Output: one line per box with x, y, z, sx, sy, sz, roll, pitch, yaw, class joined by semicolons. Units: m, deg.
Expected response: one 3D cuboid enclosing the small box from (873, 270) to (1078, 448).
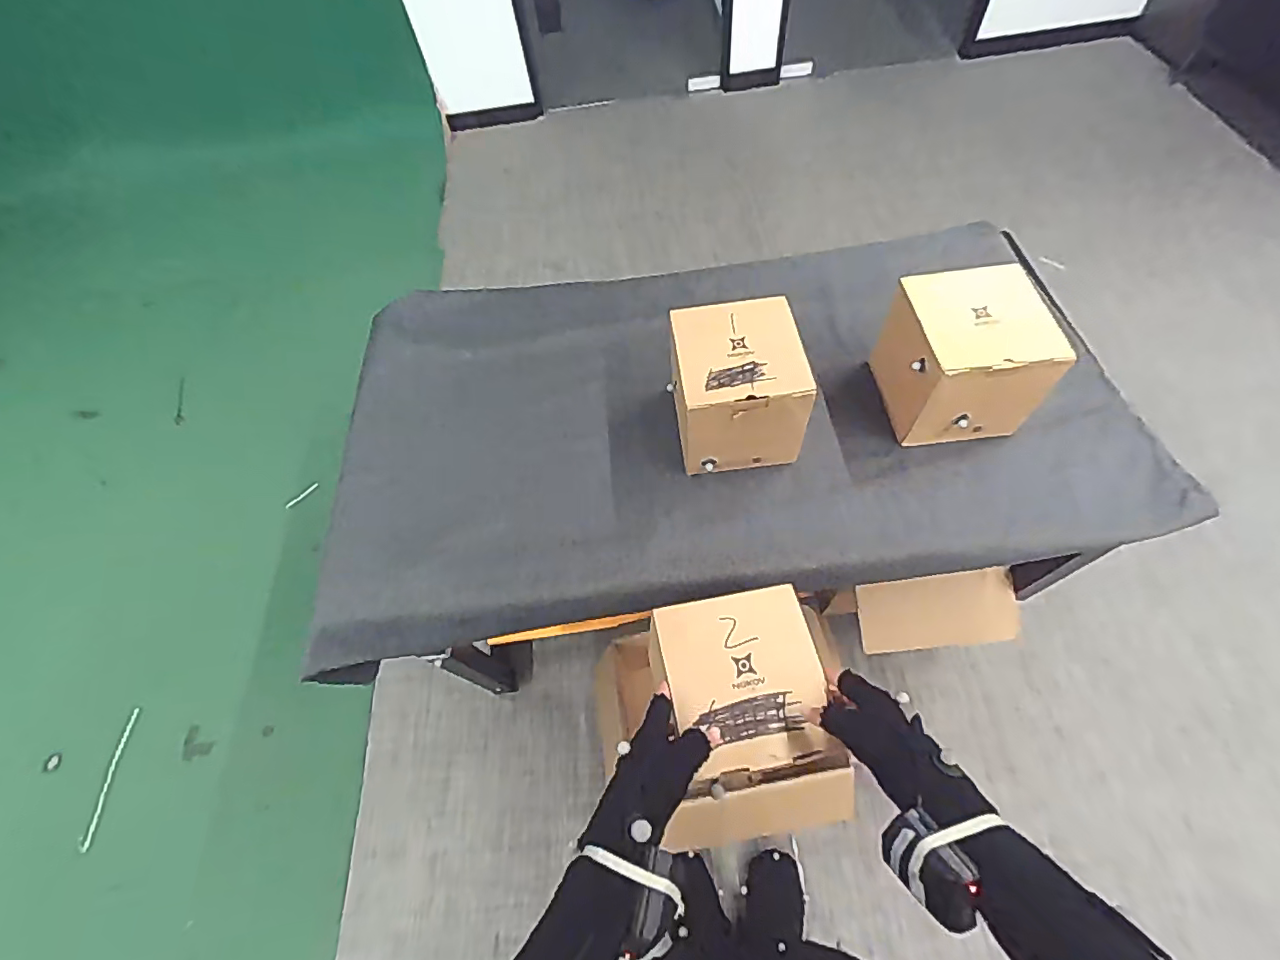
0.456;-0.168;0.775;0.168;0.176;0.179;-7;60;2;small box

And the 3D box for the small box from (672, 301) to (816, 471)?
0.139;-0.125;0.779;0.168;0.176;0.179;-7;59;1;small box
